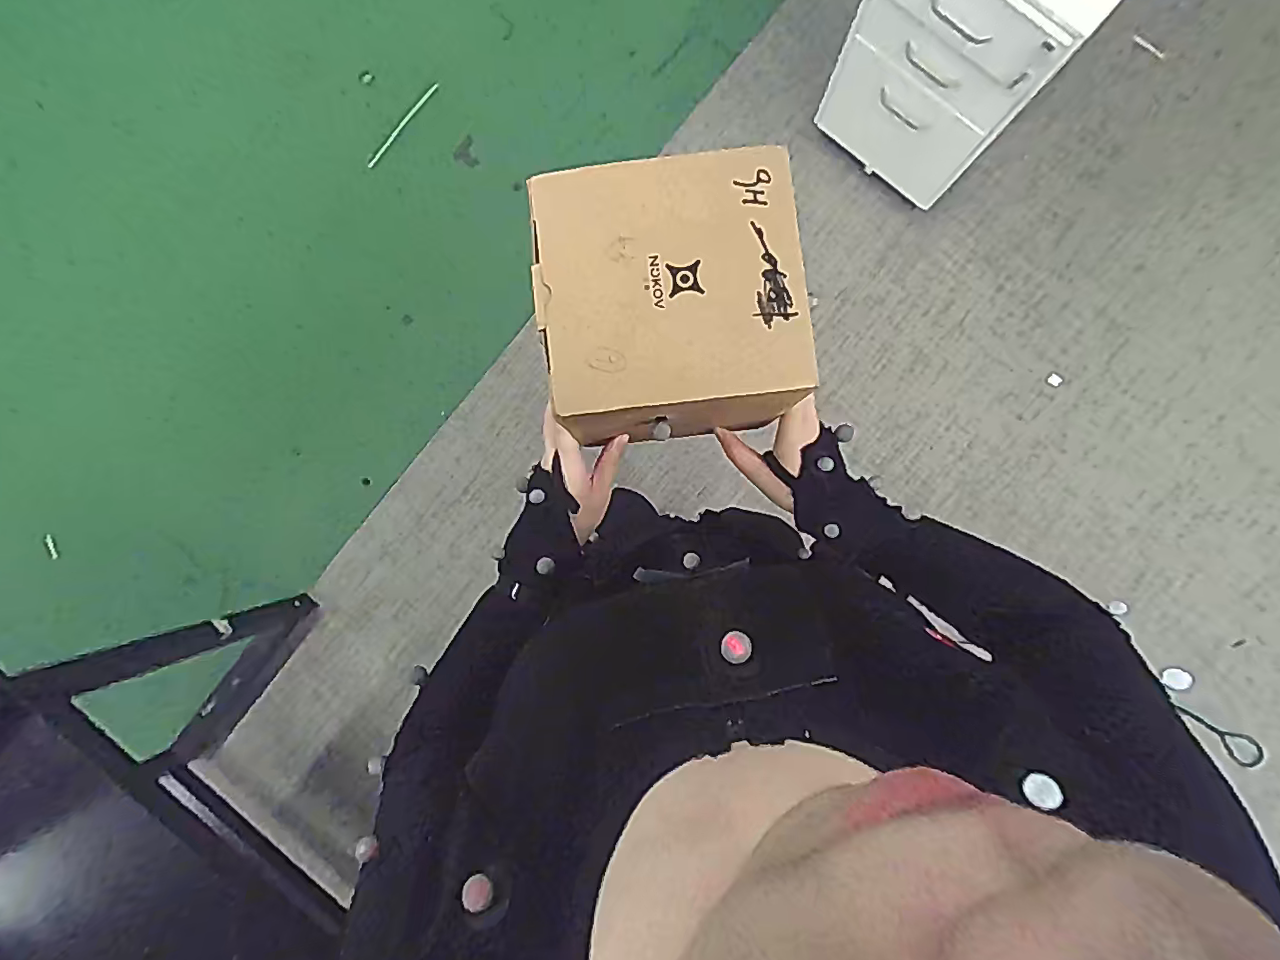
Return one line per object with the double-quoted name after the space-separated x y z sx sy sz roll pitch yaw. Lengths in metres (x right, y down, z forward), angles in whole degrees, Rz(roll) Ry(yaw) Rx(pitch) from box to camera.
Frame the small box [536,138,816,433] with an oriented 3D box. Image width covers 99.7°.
0.025 -0.136 0.439 0.179 0.176 0.168 -6 87 1 "small box"
